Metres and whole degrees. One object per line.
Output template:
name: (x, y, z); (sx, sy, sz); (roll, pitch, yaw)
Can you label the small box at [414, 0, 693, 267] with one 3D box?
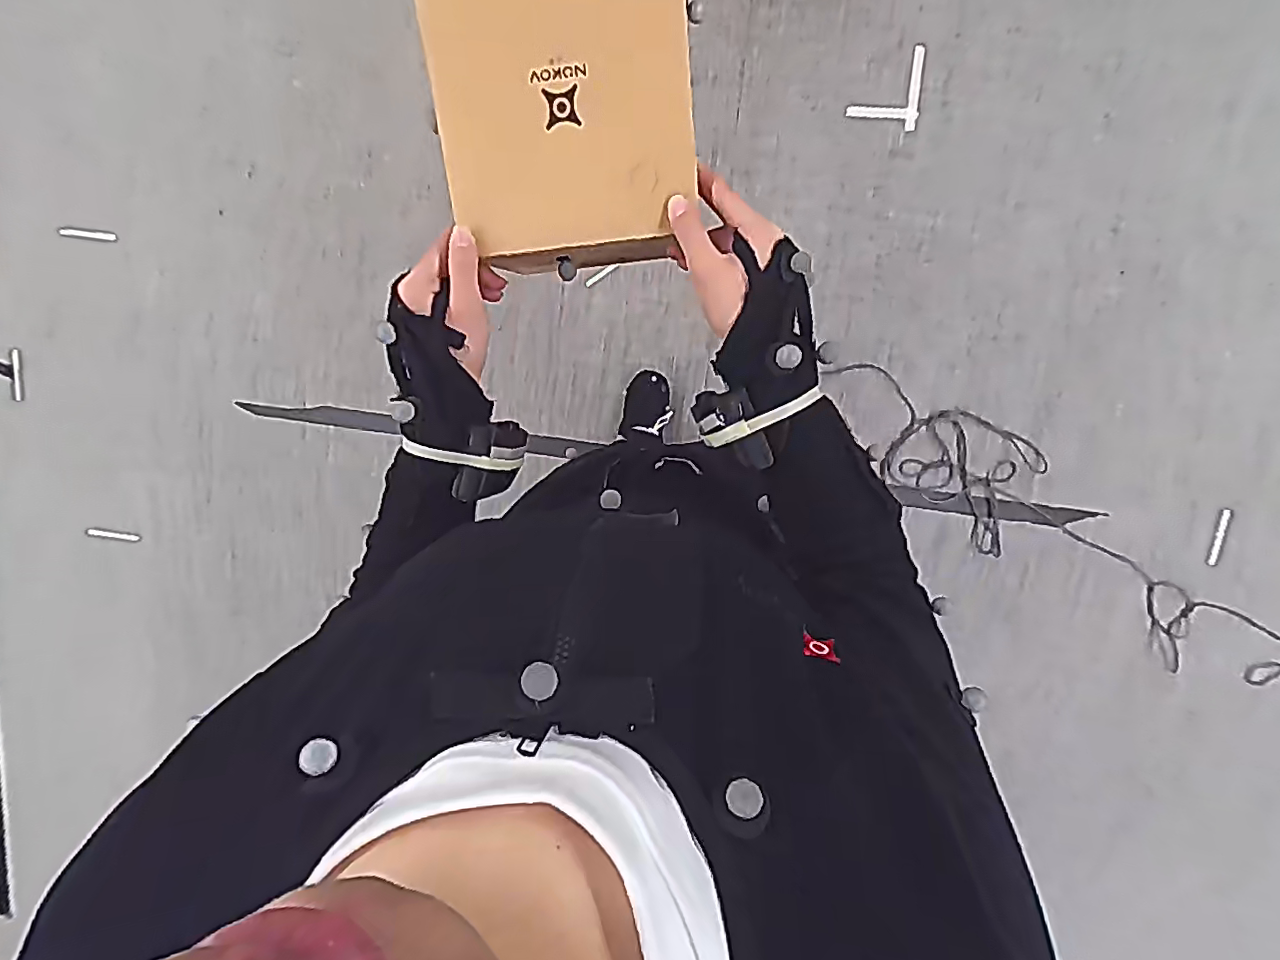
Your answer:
small box: (-0.048, -0.266, 0.415); (0.168, 0.176, 0.179); (-5, 106, 4)
